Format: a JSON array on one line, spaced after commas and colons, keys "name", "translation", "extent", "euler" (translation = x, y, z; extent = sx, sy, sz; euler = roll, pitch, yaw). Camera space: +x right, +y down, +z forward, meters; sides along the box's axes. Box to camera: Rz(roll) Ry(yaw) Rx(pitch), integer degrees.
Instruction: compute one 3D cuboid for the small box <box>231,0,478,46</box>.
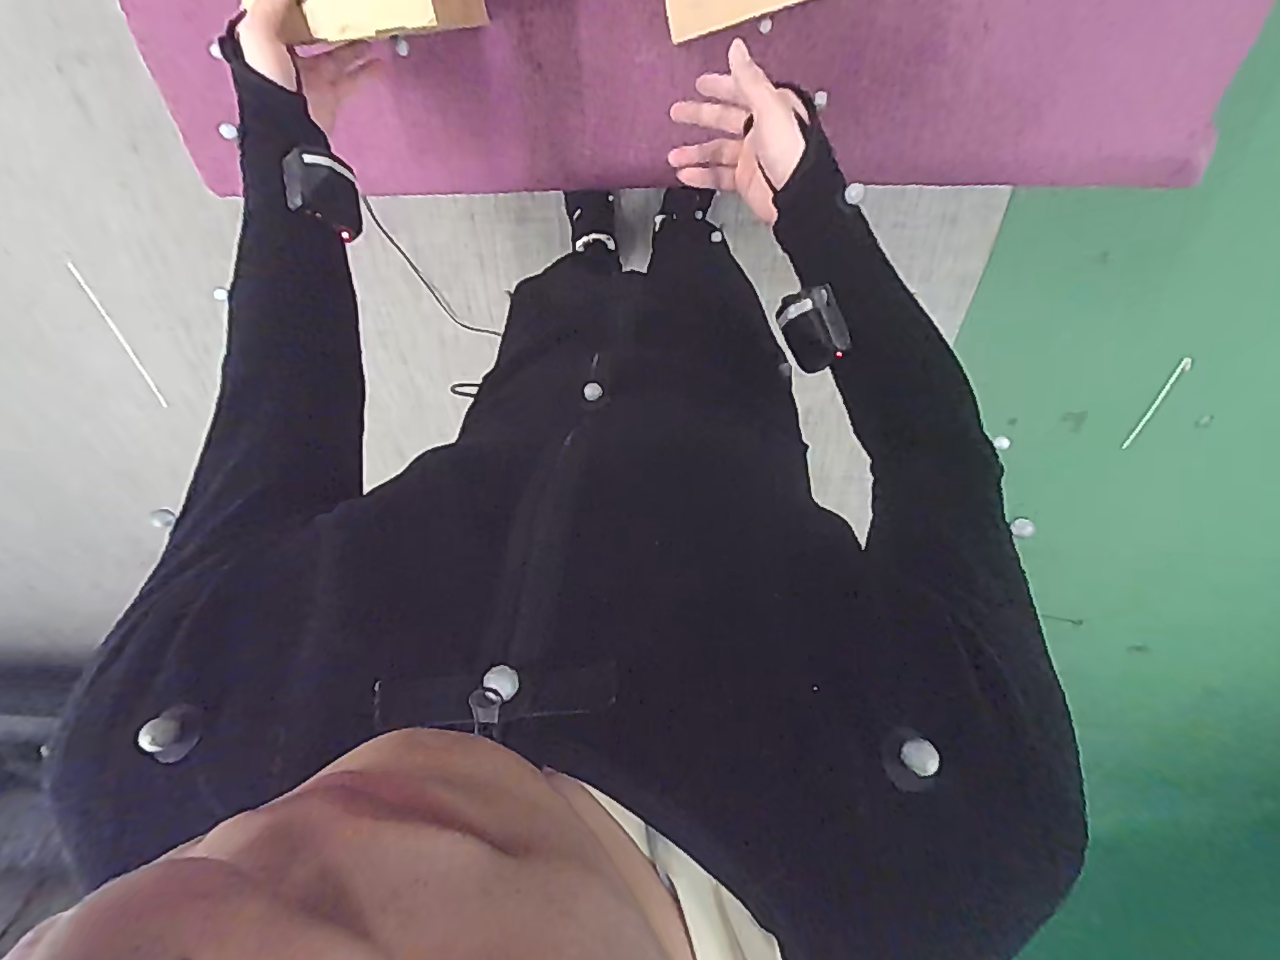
[{"name": "small box", "translation": [-0.261, -0.498, 0.472], "extent": [0.168, 0.176, 0.179], "euler": [-2, 130, 6]}]
